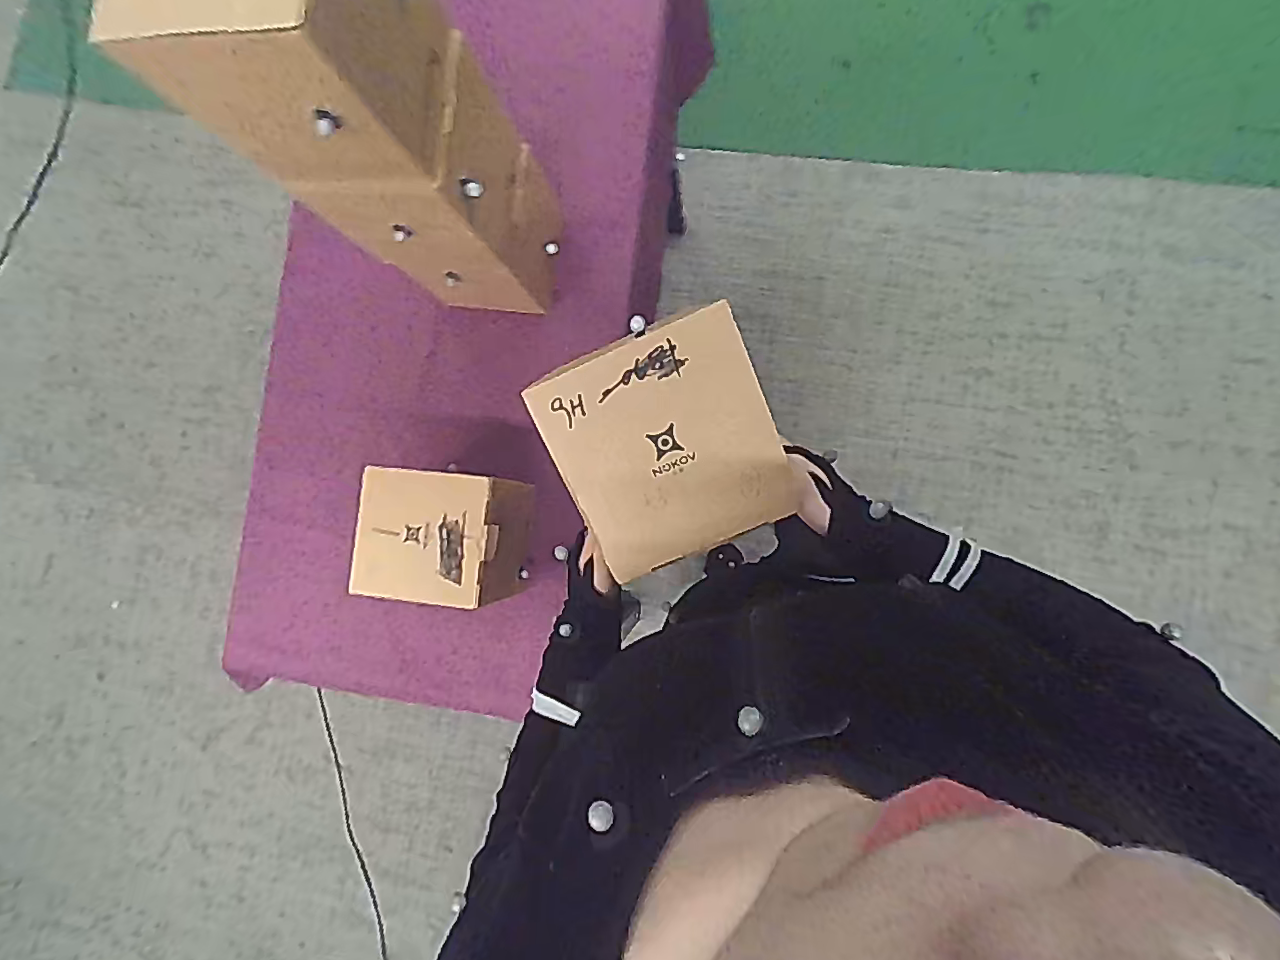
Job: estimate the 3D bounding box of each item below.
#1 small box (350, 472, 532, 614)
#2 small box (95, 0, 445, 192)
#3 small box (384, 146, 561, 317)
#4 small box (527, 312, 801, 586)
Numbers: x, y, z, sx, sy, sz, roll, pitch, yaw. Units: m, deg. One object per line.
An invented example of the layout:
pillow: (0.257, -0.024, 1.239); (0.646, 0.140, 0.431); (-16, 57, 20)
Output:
small box: (-0.264, 0.082, 0.758); (0.179, 0.176, 0.168); (5, 86, 10)
small box: (-0.291, -0.372, 0.463); (0.179, 0.176, 0.168); (5, 86, 10)
small box: (-0.232, -0.349, 0.784); (0.179, 0.176, 0.168); (8, 88, 9)
small box: (0.022, -0.040, 0.490); (0.168, 0.176, 0.179); (-23, 106, 6)
